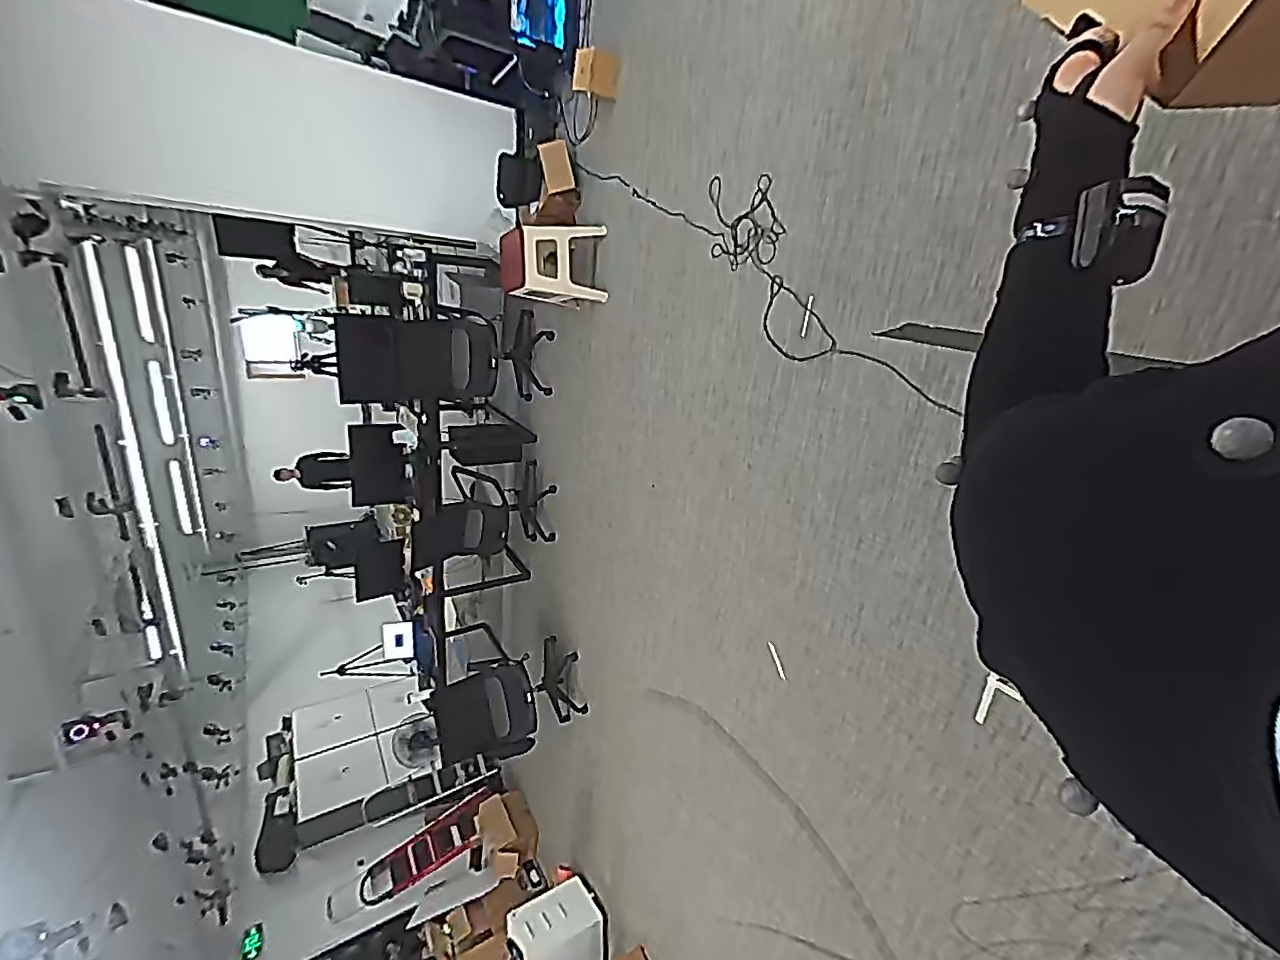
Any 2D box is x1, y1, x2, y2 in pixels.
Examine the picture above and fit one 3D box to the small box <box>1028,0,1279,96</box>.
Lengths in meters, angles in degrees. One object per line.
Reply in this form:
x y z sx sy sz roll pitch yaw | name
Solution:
0.441 -0.410 0.383 0.179 0.176 0.168 109 142 -58 | small box
